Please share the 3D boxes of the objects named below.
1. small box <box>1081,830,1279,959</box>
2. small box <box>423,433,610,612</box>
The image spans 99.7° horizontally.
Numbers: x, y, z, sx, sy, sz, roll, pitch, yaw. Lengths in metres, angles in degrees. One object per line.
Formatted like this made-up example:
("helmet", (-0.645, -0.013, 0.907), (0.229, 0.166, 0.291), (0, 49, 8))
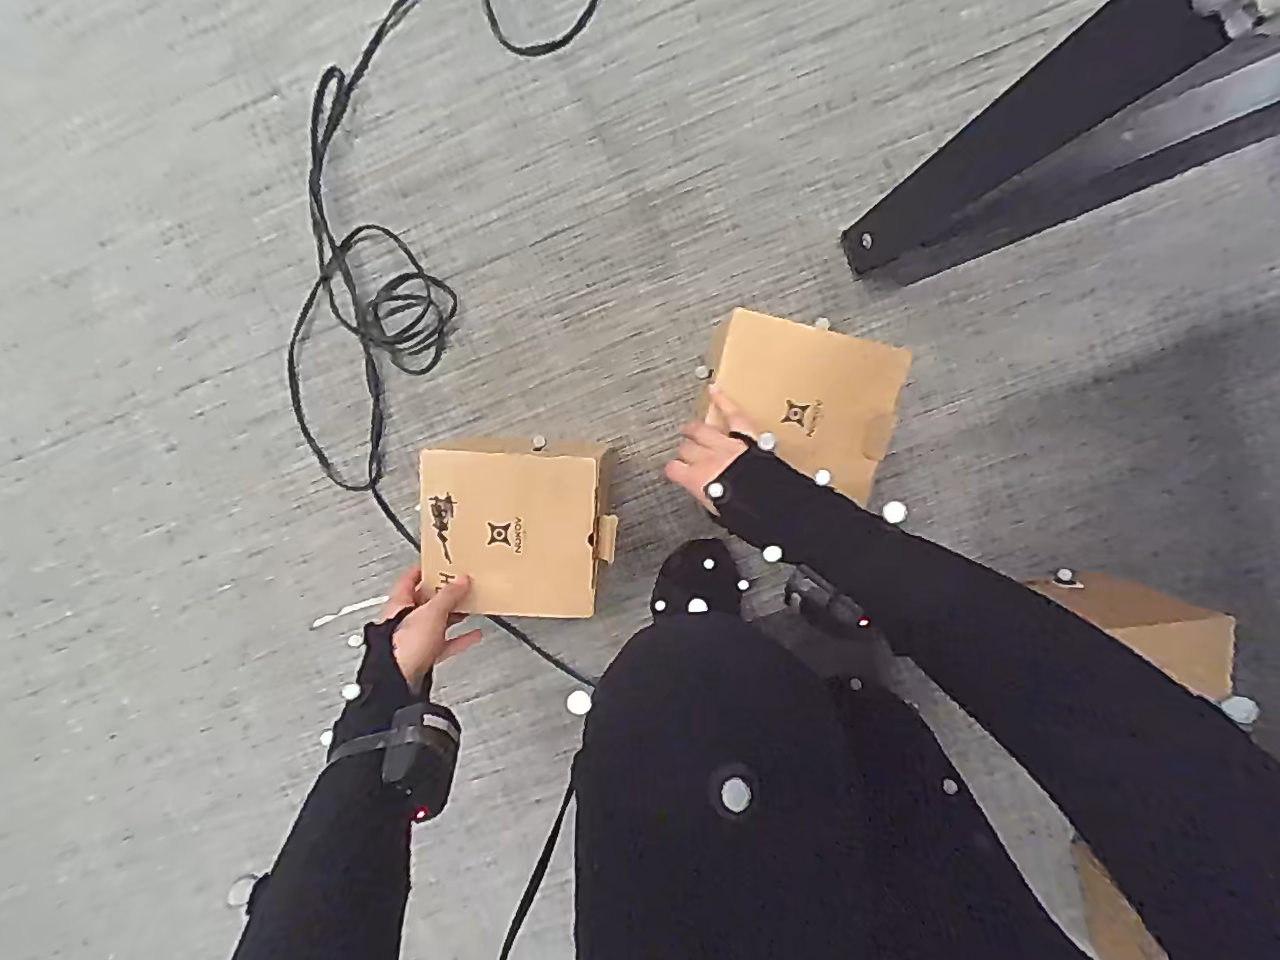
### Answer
("small box", (0.693, 0.571, 0.668), (0.168, 0.176, 0.179), (-15, 98, 3))
("small box", (-0.126, 0.037, 0.608), (0.179, 0.176, 0.168), (3, 97, 0))
